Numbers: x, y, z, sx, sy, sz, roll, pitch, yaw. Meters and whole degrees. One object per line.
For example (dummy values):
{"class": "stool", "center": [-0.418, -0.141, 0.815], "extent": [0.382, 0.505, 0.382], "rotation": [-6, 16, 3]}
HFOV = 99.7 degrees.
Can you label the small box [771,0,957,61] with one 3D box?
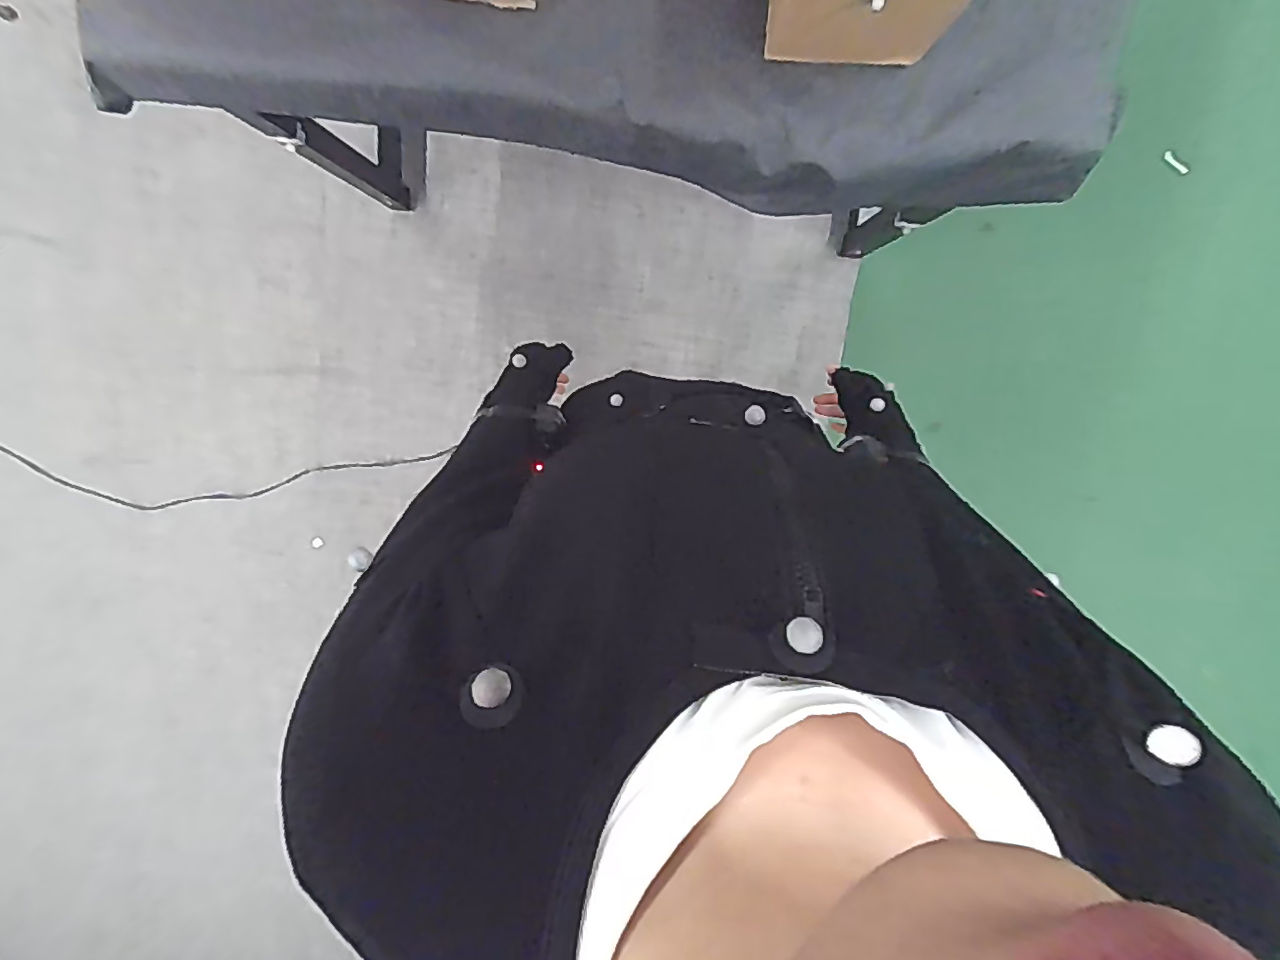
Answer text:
{"class": "small box", "center": [0.236, -0.551, 0.534], "extent": [0.179, 0.176, 0.168], "rotation": [3, 103, -1]}
